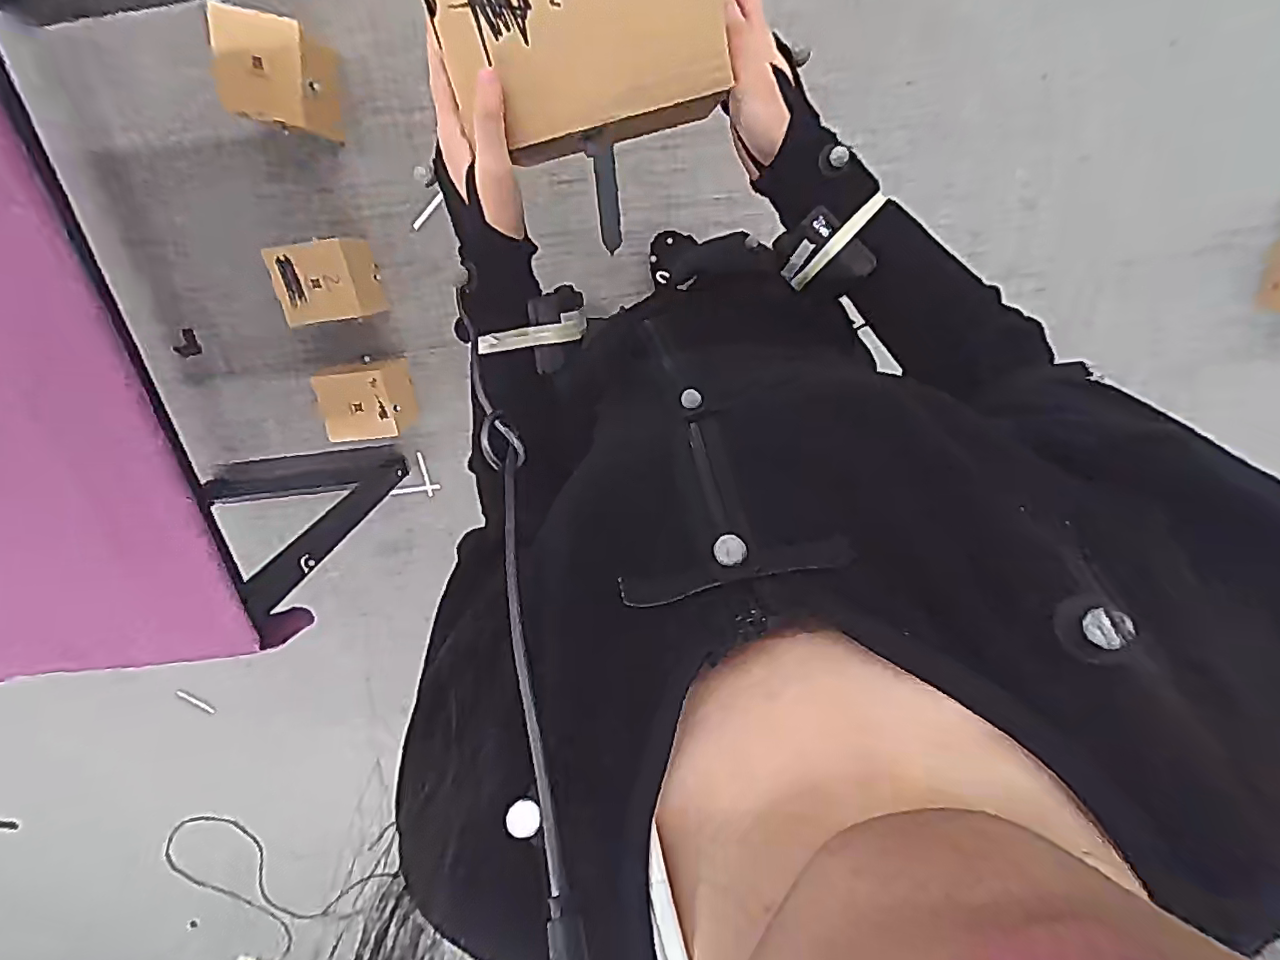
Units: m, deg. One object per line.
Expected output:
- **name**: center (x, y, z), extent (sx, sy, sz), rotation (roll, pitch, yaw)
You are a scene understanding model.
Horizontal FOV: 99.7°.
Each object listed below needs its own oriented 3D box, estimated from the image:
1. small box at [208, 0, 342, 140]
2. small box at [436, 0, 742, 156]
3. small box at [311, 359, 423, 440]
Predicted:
- **small box**: center (-0.733, -0.824, 1.106), extent (0.168, 0.176, 0.179), rotation (9, 114, -5)
- **small box**: center (-0.036, -0.340, 0.376), extent (0.179, 0.176, 0.168), rotation (-11, 117, 6)
- **small box**: center (-0.683, -0.208, 1.372), extent (0.179, 0.176, 0.168), rotation (-4, 113, 2)
